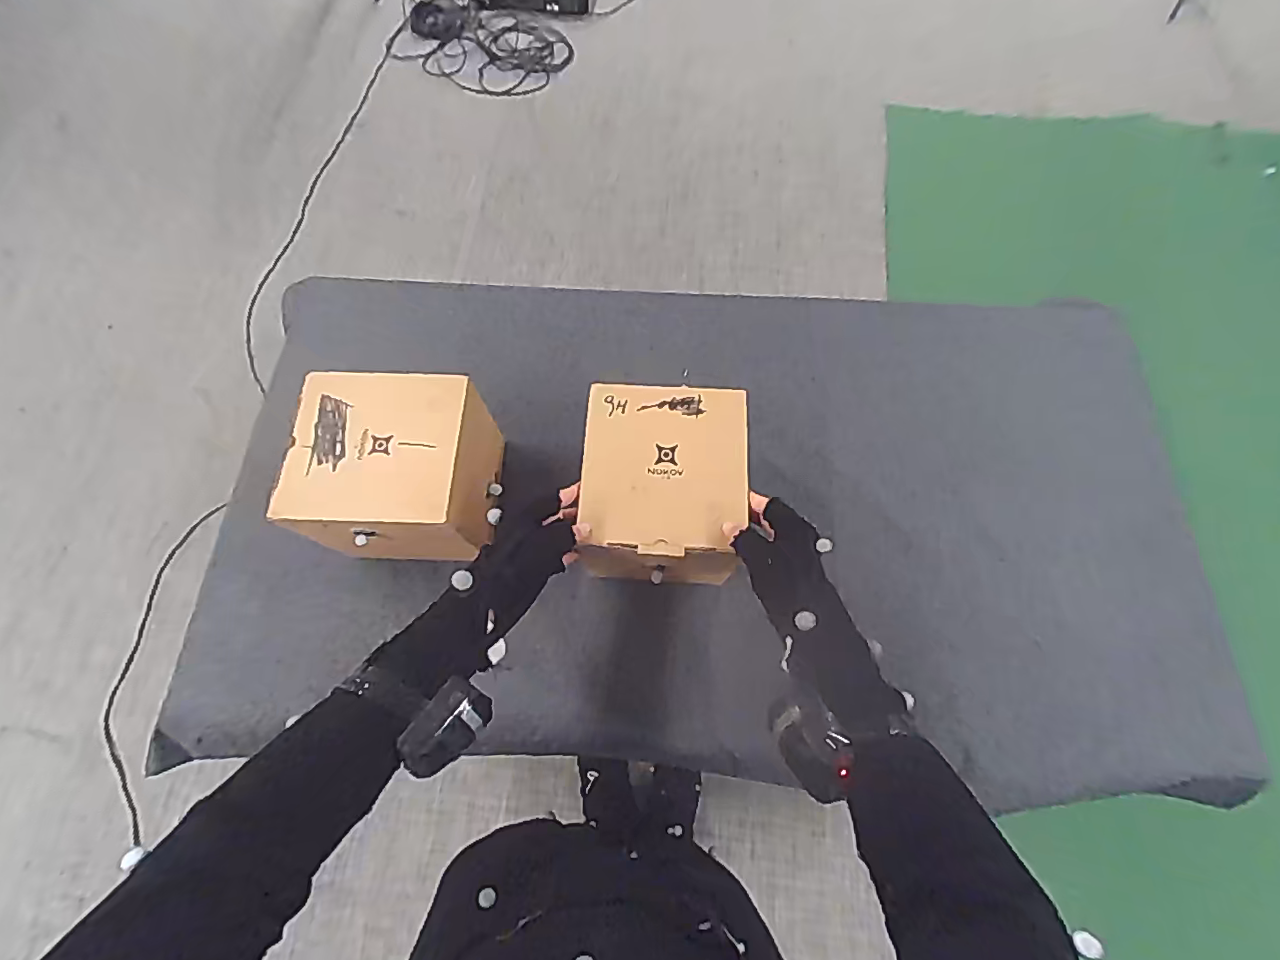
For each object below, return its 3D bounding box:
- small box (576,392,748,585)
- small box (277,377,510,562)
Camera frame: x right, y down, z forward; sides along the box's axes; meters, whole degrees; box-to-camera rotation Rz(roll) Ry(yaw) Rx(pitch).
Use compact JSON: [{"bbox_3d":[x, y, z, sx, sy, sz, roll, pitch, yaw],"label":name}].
[{"bbox_3d":[0.028,0.019,0.617,0.168,0.176,0.179,3,70,2],"label":"small box"},{"bbox_3d":[-0.265,-0.003,0.627,0.179,0.176,0.168,2,69,0],"label":"small box"}]
